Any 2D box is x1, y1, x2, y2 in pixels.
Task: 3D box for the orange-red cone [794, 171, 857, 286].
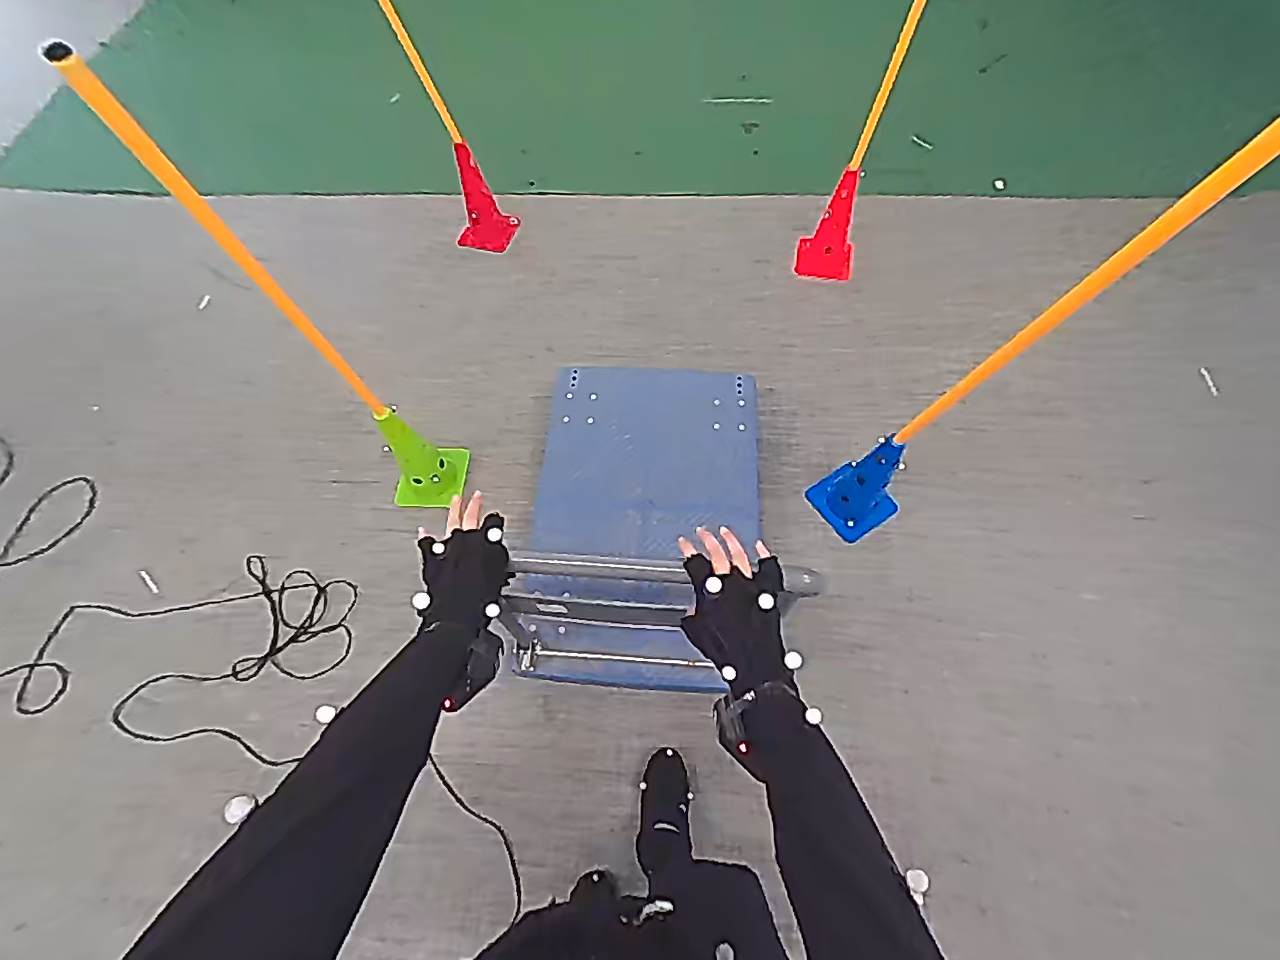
[{"bbox_3d":[0.674,-0.878,1.855,0.198,0.360,0.199,12,65,9],"label":"orange-red cone"}]
